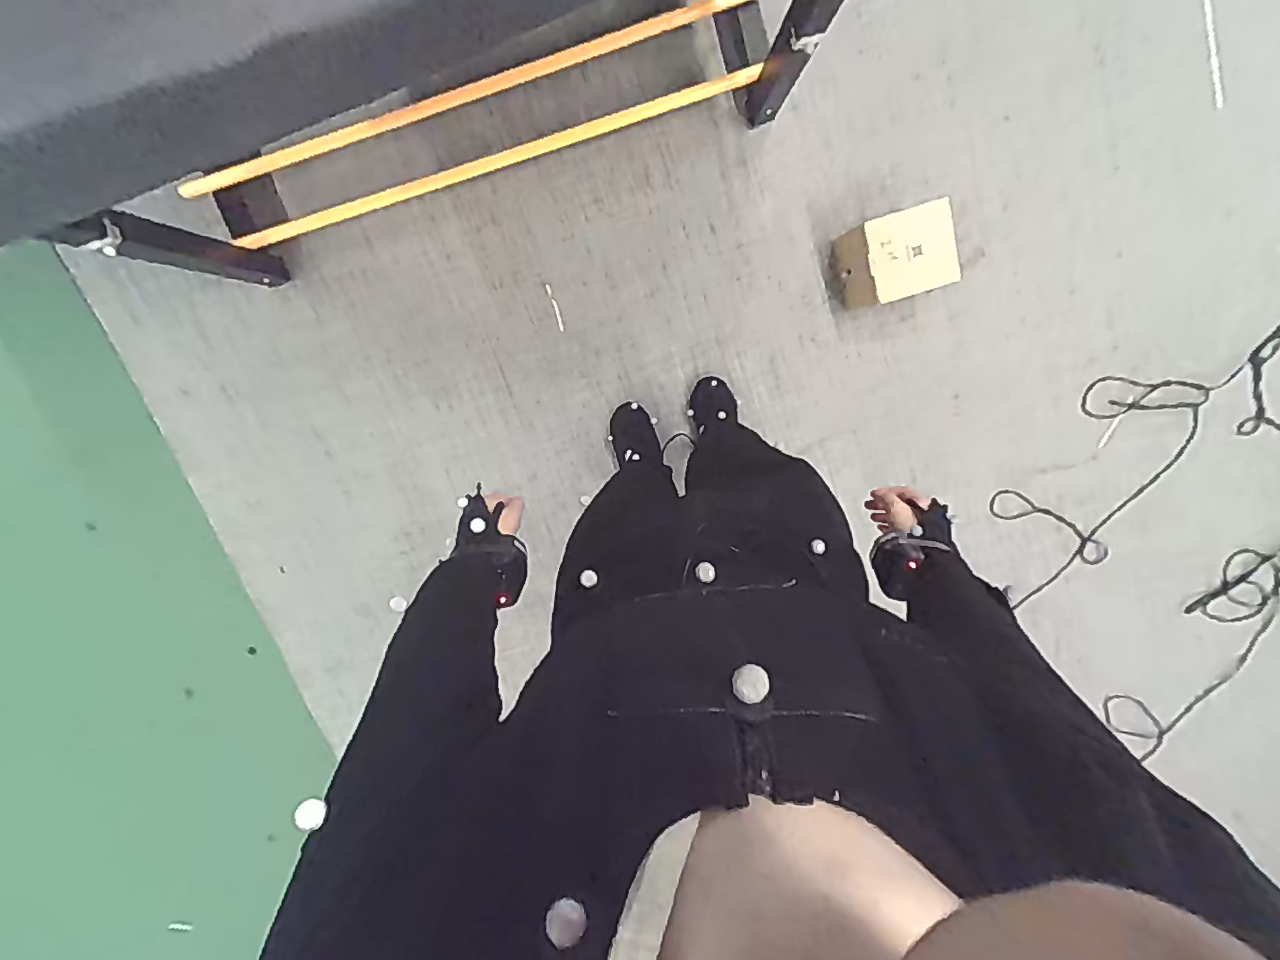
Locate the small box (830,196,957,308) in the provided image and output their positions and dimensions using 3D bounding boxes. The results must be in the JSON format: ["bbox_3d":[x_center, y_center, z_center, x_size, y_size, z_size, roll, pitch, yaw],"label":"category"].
[{"bbox_3d":[0.537,-0.480,1.162,0.179,0.176,0.168,-17,102,2],"label":"small box"}]
